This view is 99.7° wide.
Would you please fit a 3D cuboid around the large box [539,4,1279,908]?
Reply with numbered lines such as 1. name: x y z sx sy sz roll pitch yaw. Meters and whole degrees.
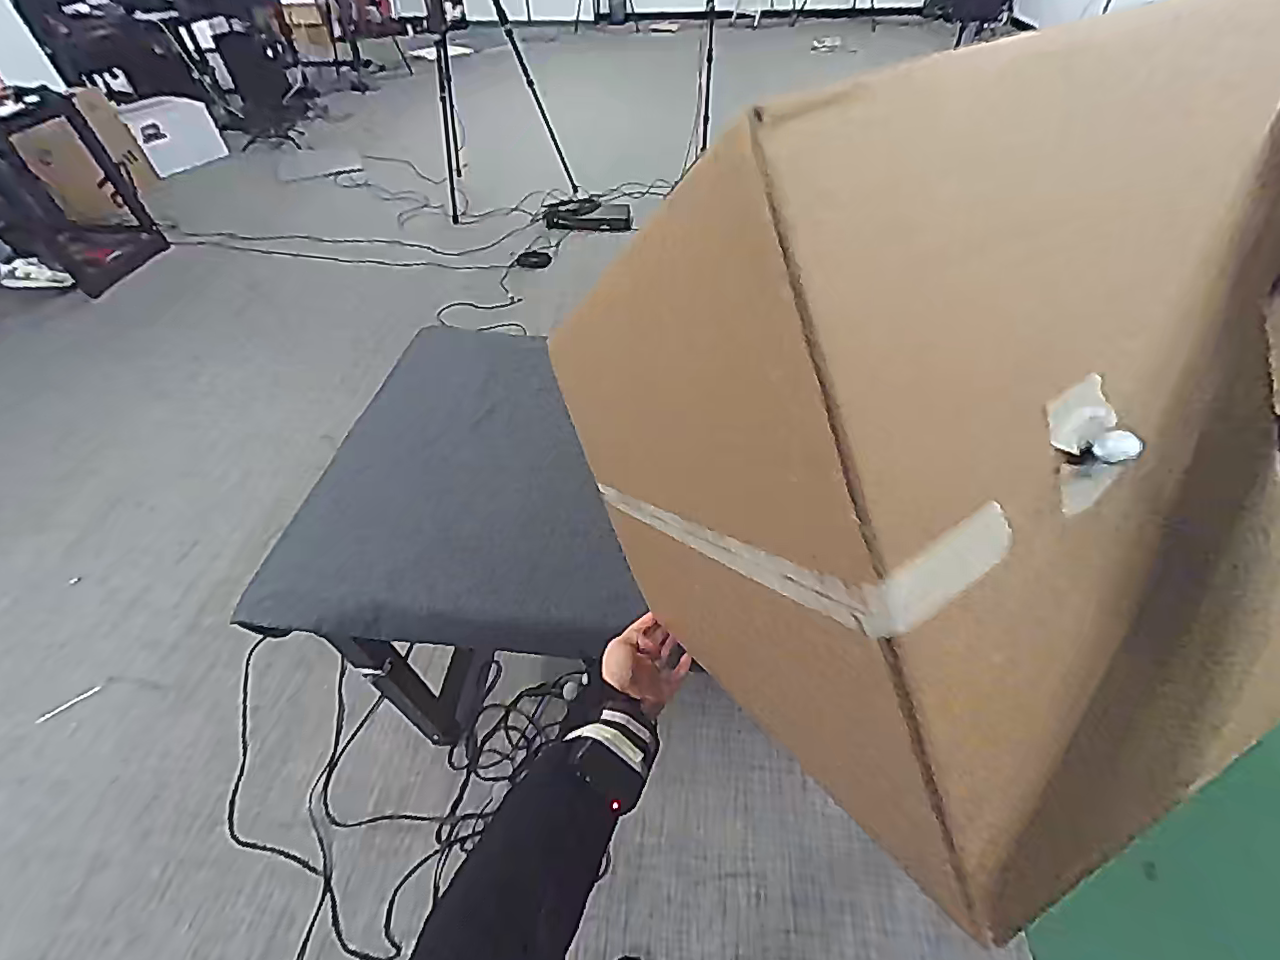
1. large box: 0.151 -0.034 0.408 0.320 0.320 0.408 -24 13 -16
